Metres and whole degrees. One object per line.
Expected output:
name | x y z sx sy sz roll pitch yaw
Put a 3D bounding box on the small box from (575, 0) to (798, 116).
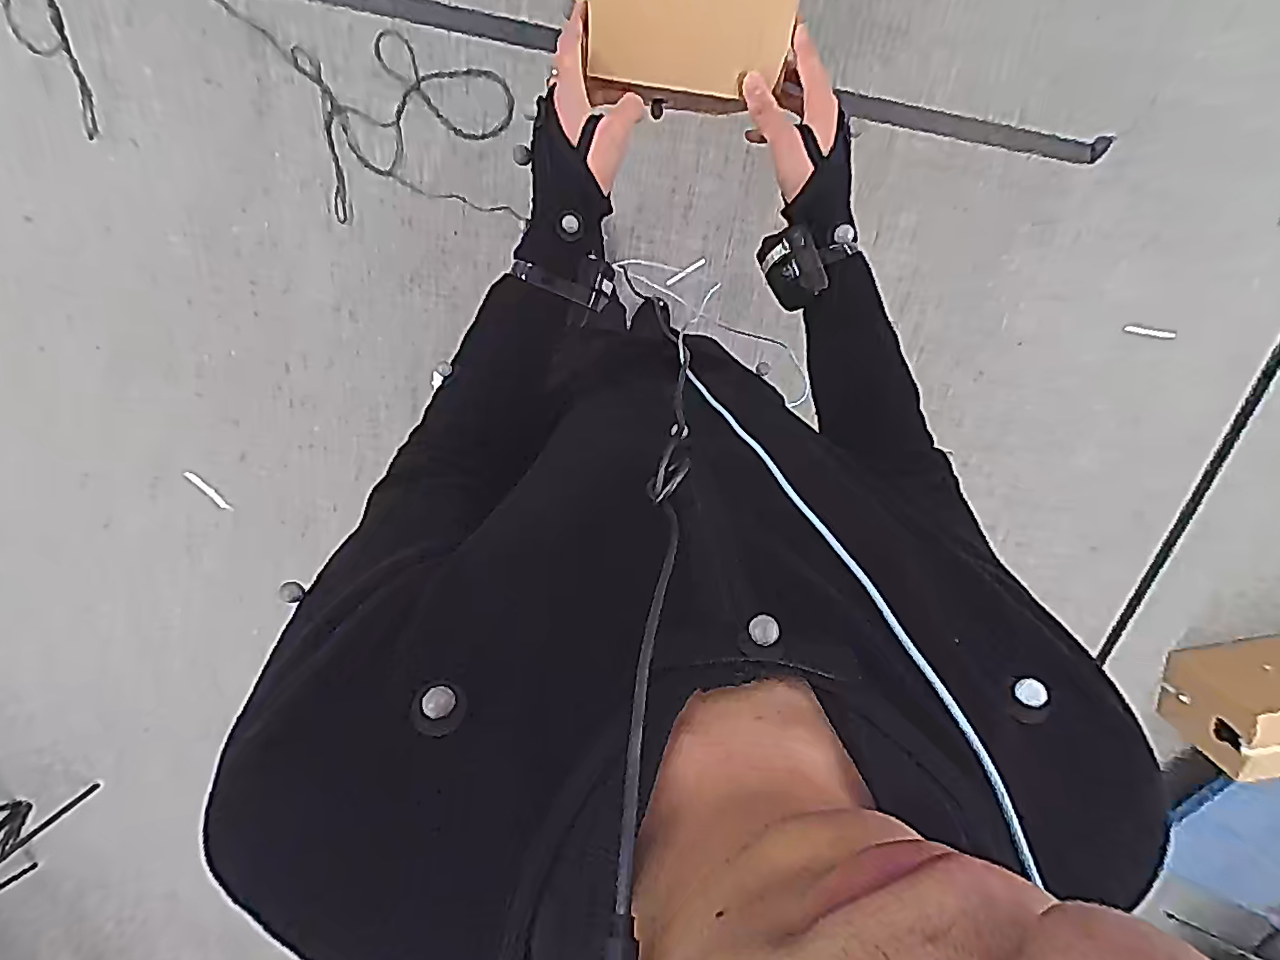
small box | 0.034 -0.434 0.470 0.168 0.176 0.179 1 121 -13
